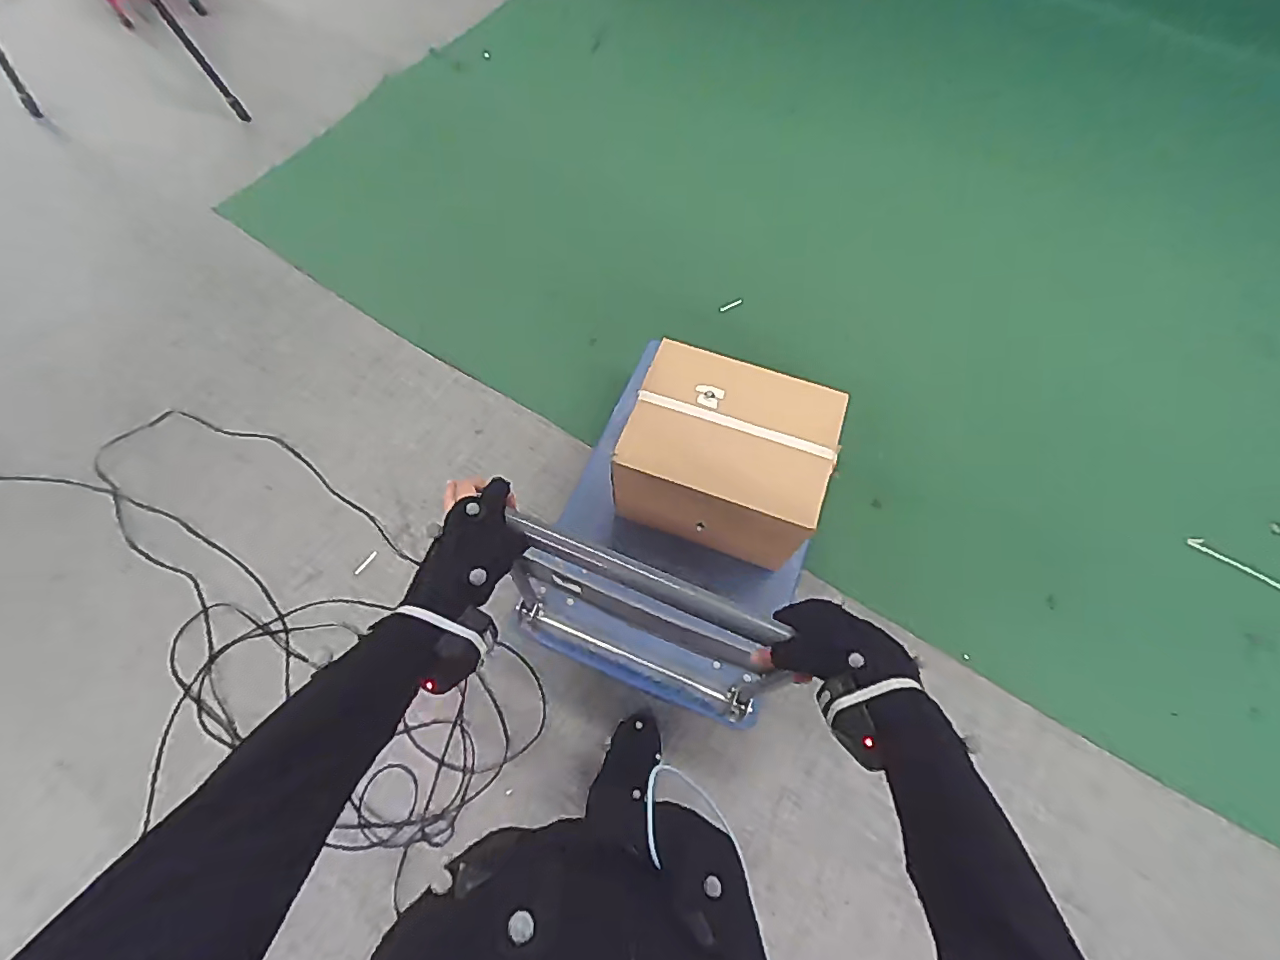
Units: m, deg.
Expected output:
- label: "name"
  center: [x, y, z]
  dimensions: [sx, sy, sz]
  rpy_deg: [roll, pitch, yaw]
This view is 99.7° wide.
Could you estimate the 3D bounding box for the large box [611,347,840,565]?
- label: "large box"
  center: [0.181, -0.040, 1.221]
  dimensions: [0.408, 0.320, 0.320]
  rpy_deg: [18, 67, 8]
